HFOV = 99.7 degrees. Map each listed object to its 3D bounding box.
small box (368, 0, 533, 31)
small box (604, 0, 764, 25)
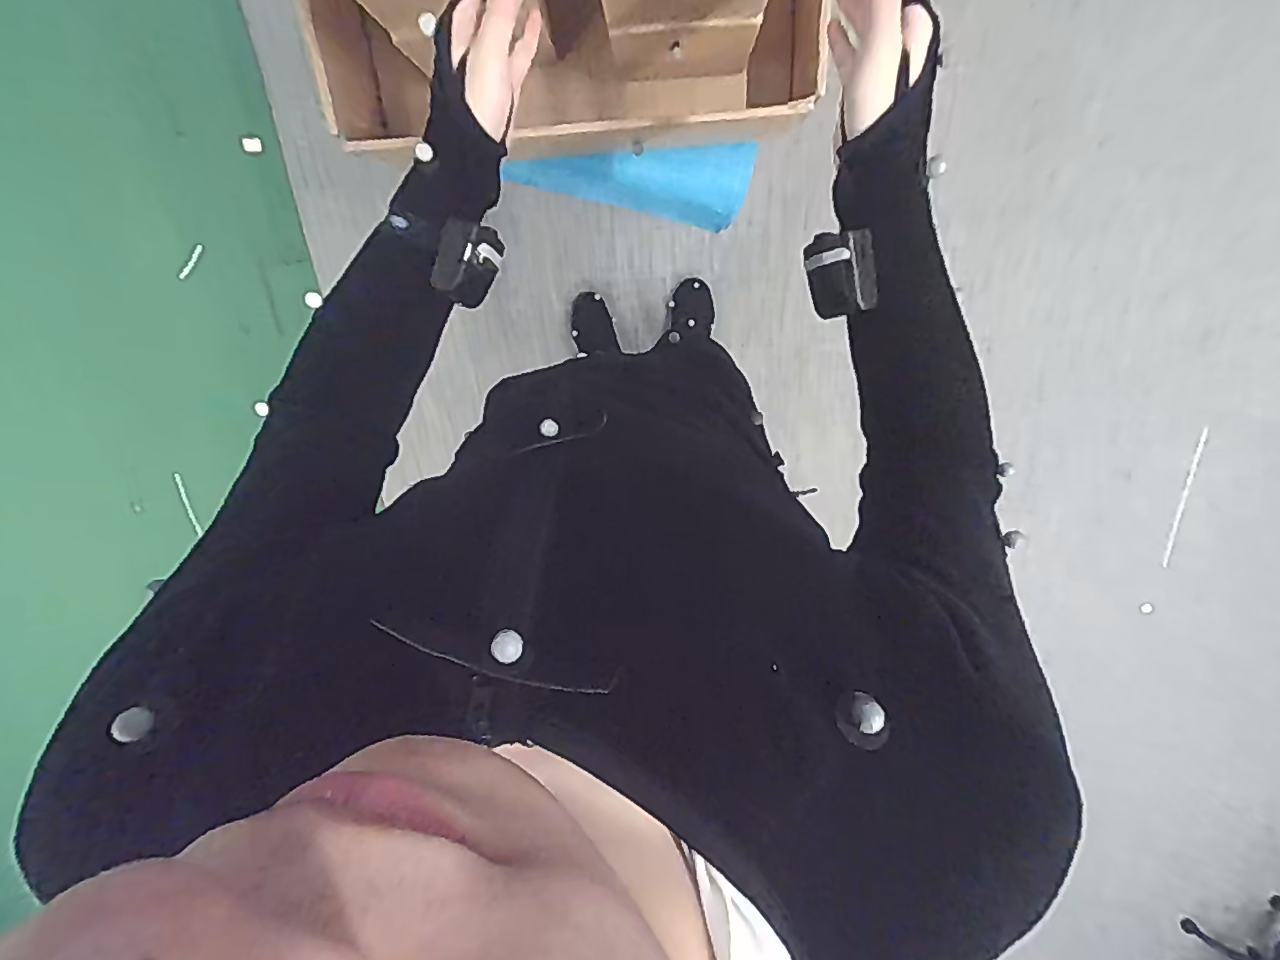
[{"bbox_3d":[-0.206,-0.562,0.506,0.179,0.176,0.168,-8,111,3],"label":"small box"},{"bbox_3d":[0.042,-0.555,0.499,0.179,0.176,0.168,-2,111,3],"label":"small box"}]
